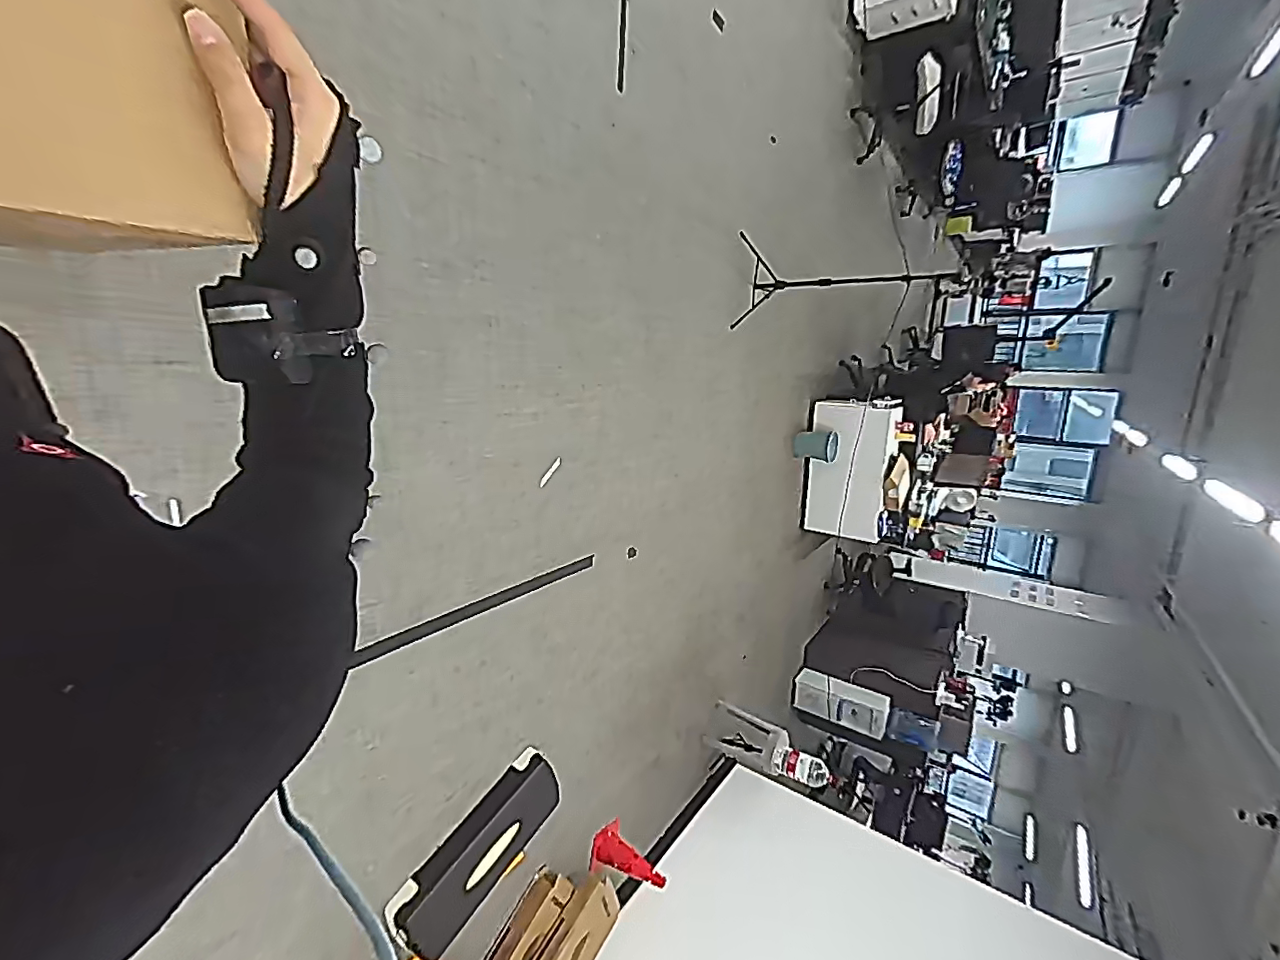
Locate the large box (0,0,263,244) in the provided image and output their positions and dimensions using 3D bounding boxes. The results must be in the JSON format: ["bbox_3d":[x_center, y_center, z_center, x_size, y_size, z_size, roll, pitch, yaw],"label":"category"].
[{"bbox_3d":[-0.461,-0.285,0.208,0.408,0.320,0.320,-23,121,-56],"label":"large box"}]
